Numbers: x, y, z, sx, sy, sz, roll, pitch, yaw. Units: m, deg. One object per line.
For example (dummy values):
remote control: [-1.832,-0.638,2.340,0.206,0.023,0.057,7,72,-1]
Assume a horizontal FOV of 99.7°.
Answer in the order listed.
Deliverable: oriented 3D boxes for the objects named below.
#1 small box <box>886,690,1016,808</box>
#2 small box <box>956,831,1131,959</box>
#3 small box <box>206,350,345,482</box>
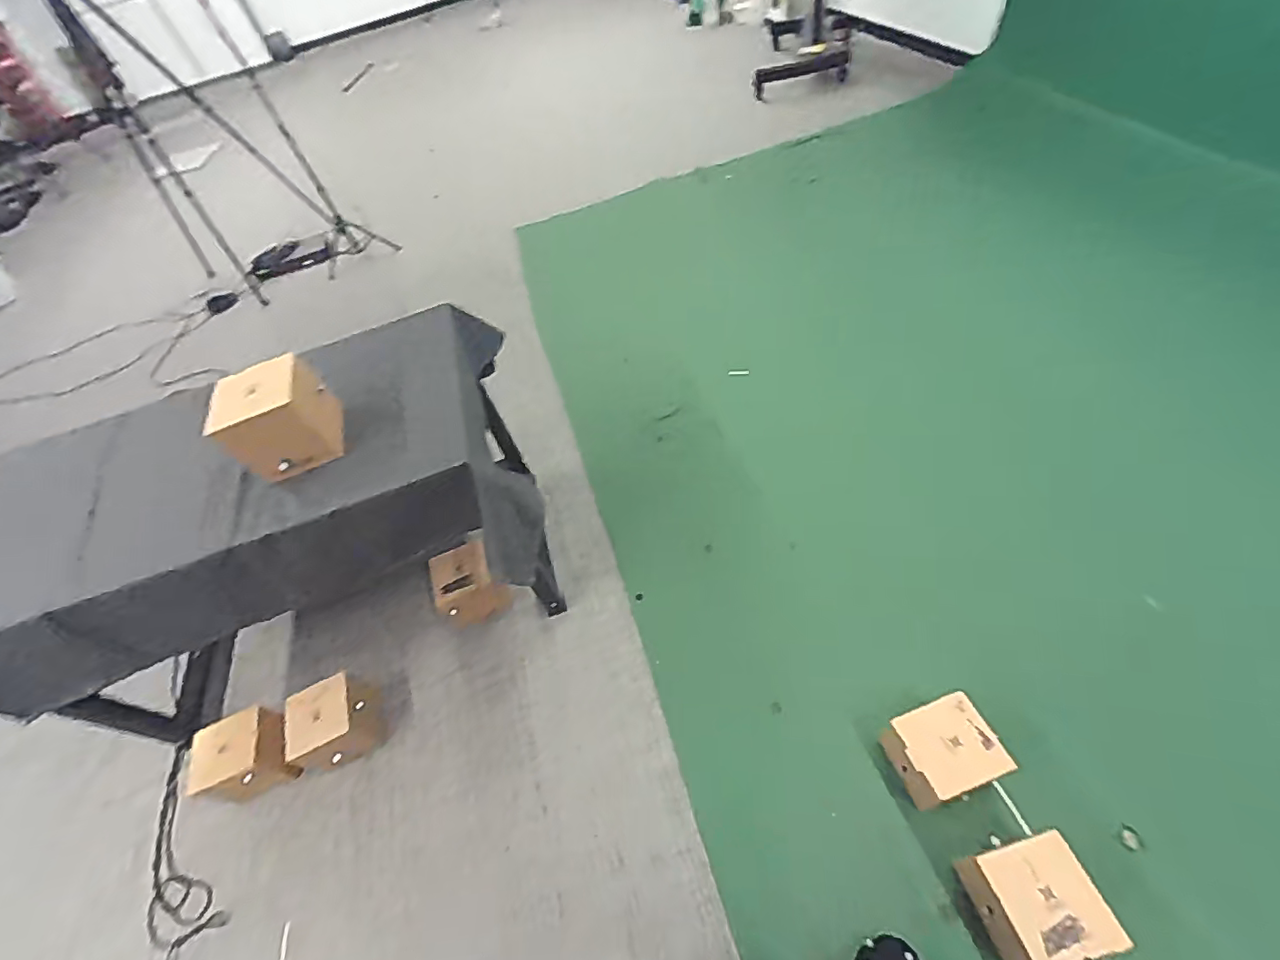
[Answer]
small box: [0.659,0.590,1.176,0.179,0.176,0.168,-22,52,-2]
small box: [0.734,0.785,1.010,0.168,0.176,0.179,-18,51,-1]
small box: [-0.736,-0.129,1.115,0.168,0.176,0.179,-23,52,-3]
